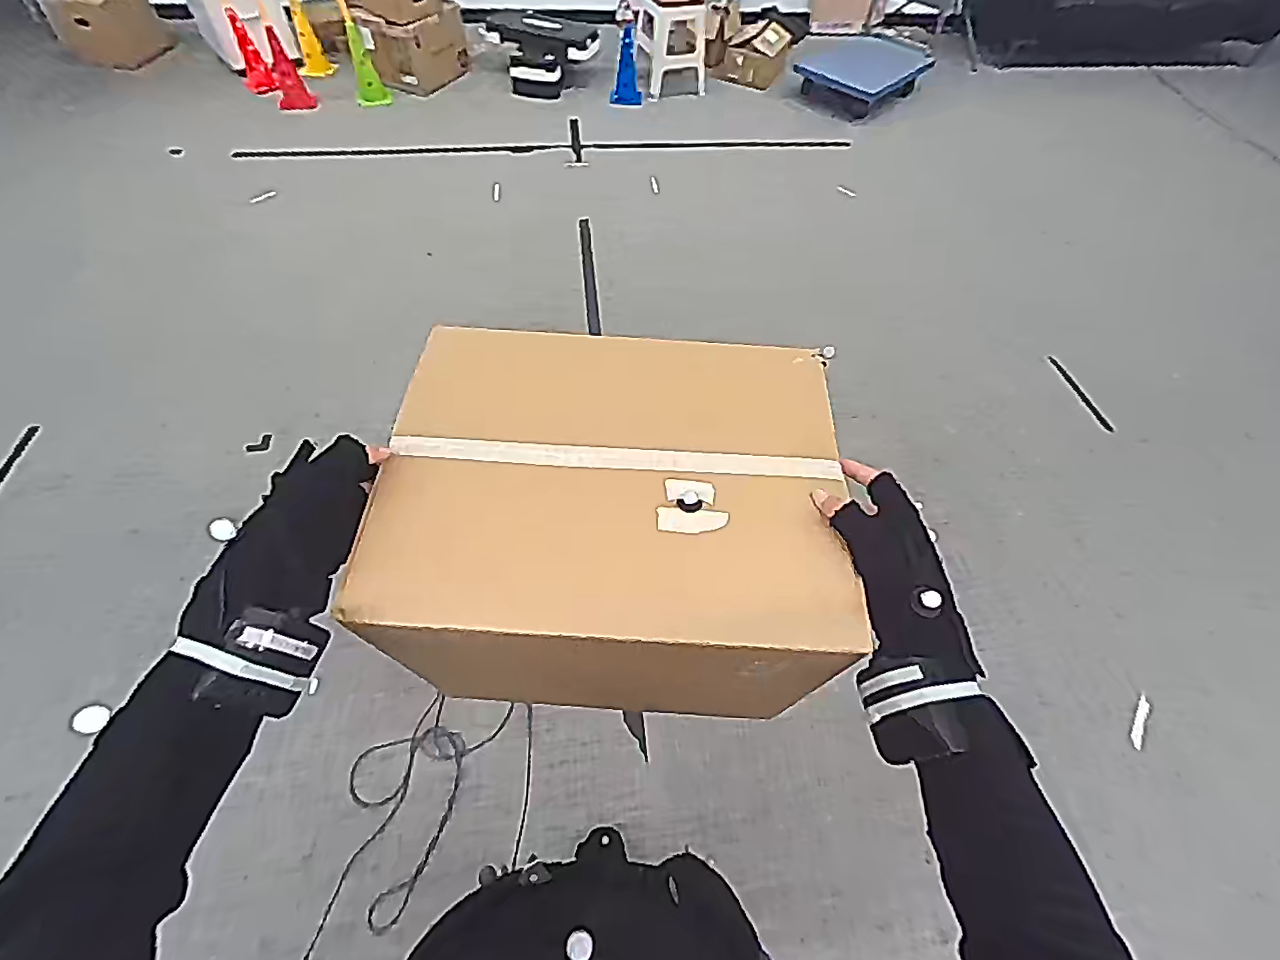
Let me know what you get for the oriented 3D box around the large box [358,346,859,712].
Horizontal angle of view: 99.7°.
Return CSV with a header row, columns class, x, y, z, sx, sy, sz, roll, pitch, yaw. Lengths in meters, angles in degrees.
class,x,y,z,sx,sy,sz,roll,pitch,yaw
large box,-0.025,0.072,0.627,0.408,0.320,0.320,3,58,0
